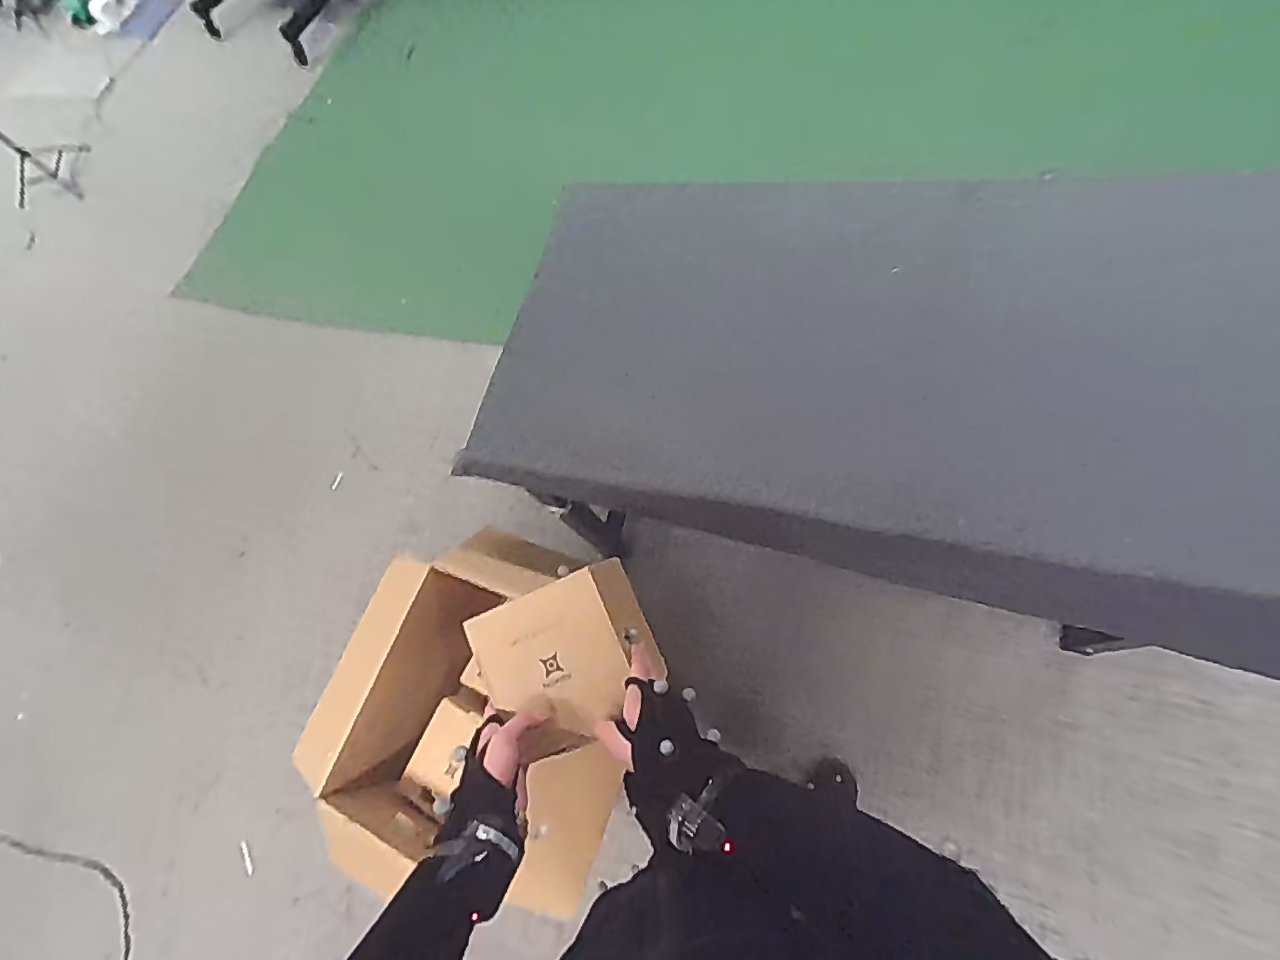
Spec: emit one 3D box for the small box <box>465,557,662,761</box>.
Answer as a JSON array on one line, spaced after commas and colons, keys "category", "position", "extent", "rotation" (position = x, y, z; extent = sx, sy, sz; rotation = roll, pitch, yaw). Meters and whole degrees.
[{"category": "small box", "position": [-0.083, 0.209, 0.682], "extent": [0.168, 0.176, 0.179], "rotation": [-25, 82, 7]}]
